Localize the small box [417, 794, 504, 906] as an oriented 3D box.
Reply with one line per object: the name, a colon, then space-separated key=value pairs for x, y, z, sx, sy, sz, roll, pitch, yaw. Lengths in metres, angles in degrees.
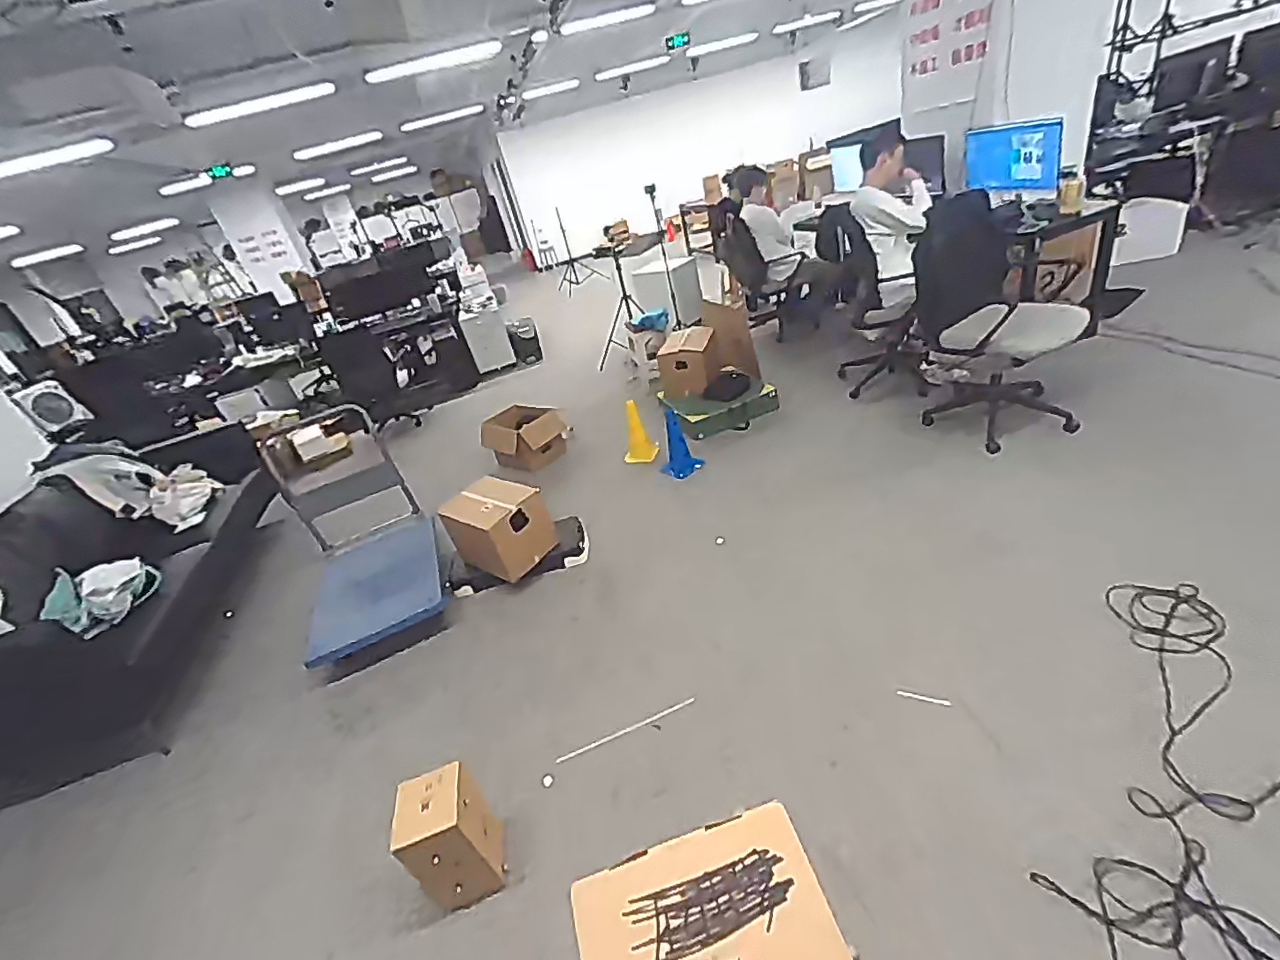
small box: x=-0.478 y=1.005 z=1.469 sx=0.179 sy=0.176 sz=0.168 roll=-20 pitch=31 yaw=-6

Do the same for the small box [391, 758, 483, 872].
small box: x=-0.512 y=0.865 z=1.388 sx=0.168 sy=0.176 sz=0.179 roll=-19 pitch=30 yaw=-6
